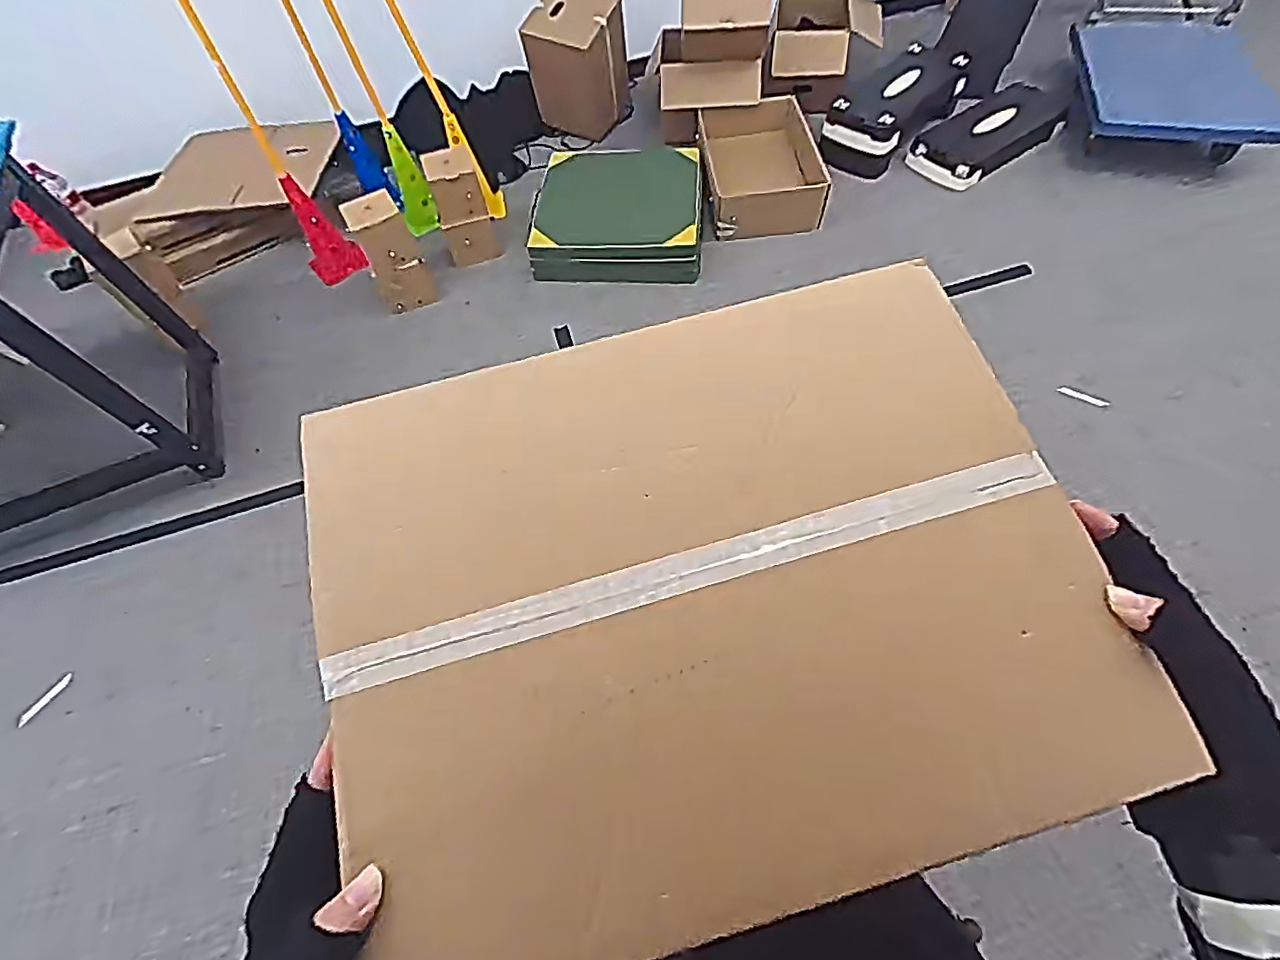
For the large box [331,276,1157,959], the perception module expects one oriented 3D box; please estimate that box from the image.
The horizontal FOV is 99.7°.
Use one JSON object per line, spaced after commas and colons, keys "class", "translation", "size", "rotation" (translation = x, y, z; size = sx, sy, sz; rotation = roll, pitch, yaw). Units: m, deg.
{"class": "large box", "translation": [0.036, 0.101, 0.449], "size": [0.408, 0.320, 0.320], "rotation": [-16, 71, -4]}
